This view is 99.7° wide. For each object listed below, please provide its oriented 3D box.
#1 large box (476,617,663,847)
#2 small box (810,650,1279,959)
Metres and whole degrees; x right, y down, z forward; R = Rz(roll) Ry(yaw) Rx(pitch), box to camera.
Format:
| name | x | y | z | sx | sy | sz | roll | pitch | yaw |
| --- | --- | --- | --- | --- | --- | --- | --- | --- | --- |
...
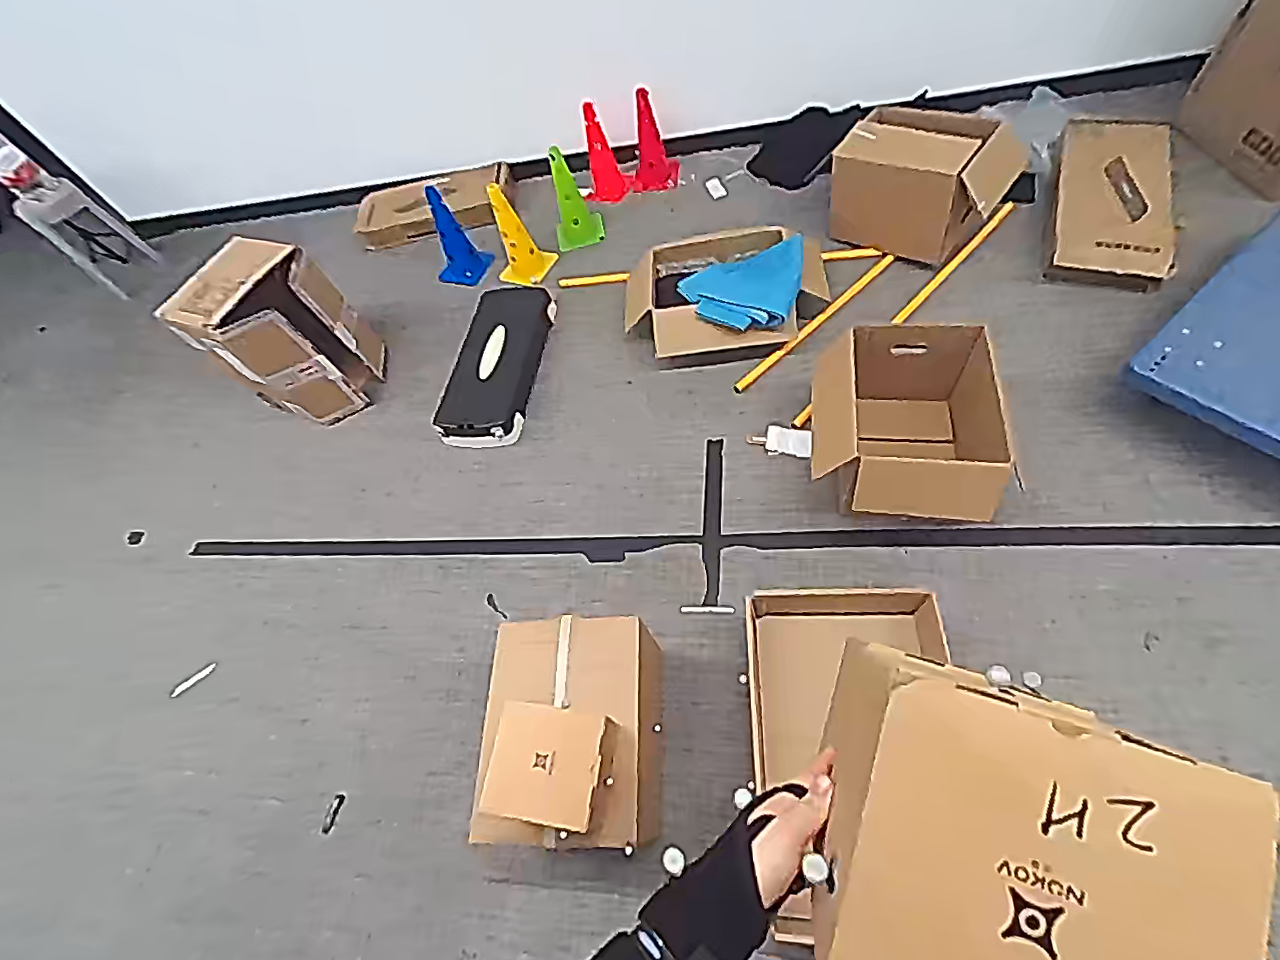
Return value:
| name | x | y | z | sx | sy | sz | roll | pitch | yaw |
| --- | --- | --- | --- | --- | --- | --- | --- | --- | --- |
| large box | -0.123 | 0.541 | 1.175 | 0.320 | 0.320 | 0.408 | -5 | 60 | 10 |
| small box | 0.206 | 0.216 | 0.323 | 0.168 | 0.176 | 0.179 | 15 | 80 | 19 |
